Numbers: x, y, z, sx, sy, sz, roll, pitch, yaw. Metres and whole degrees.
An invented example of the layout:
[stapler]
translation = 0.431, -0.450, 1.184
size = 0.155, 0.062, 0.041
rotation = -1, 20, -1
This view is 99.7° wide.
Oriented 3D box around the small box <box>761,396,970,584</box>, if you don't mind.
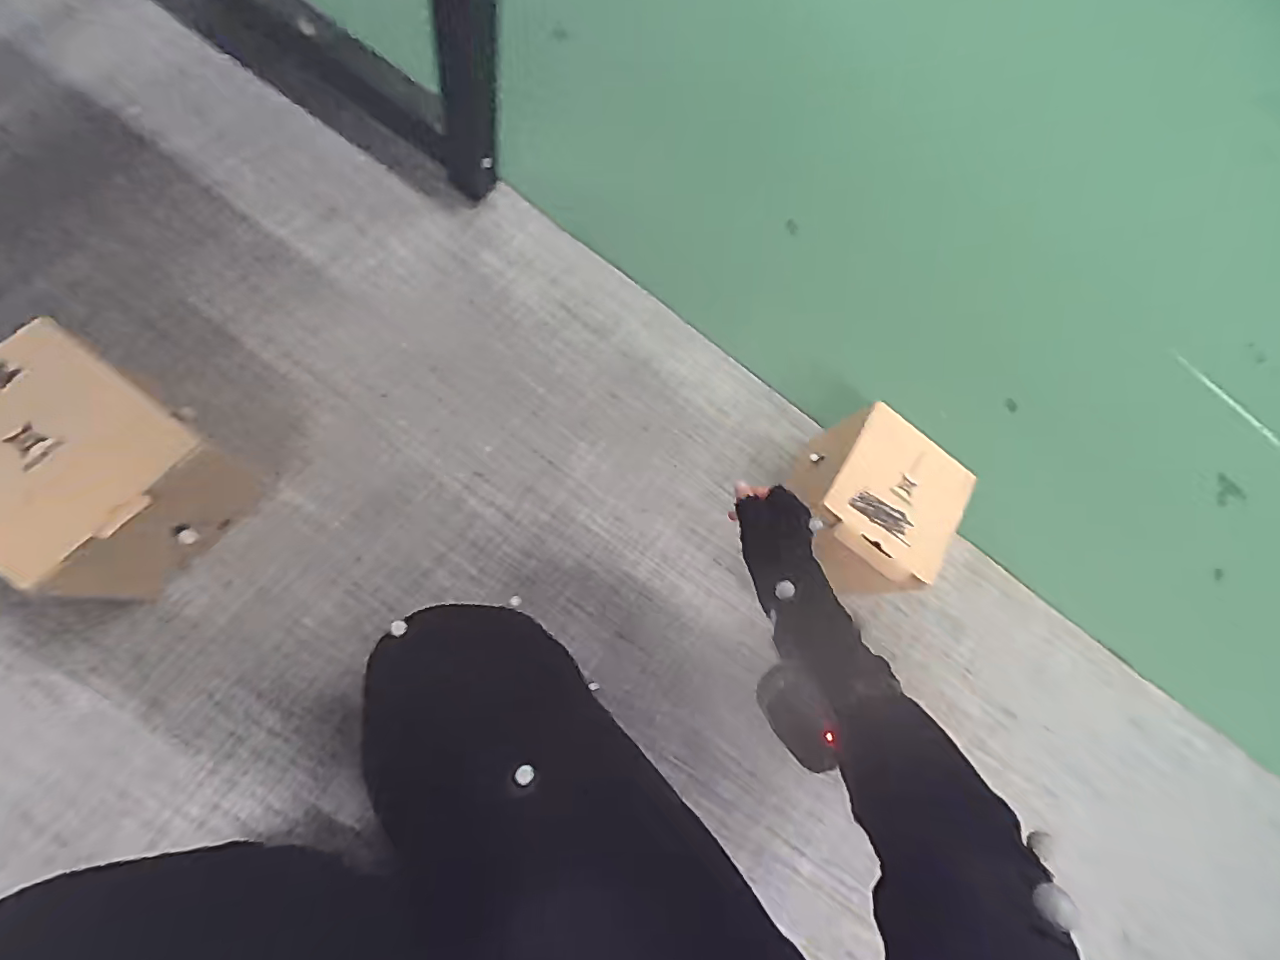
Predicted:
[small box]
translation = 0.289, 0.026, 0.731
size = 0.168, 0.176, 0.179
rotation = 37, 70, -4
